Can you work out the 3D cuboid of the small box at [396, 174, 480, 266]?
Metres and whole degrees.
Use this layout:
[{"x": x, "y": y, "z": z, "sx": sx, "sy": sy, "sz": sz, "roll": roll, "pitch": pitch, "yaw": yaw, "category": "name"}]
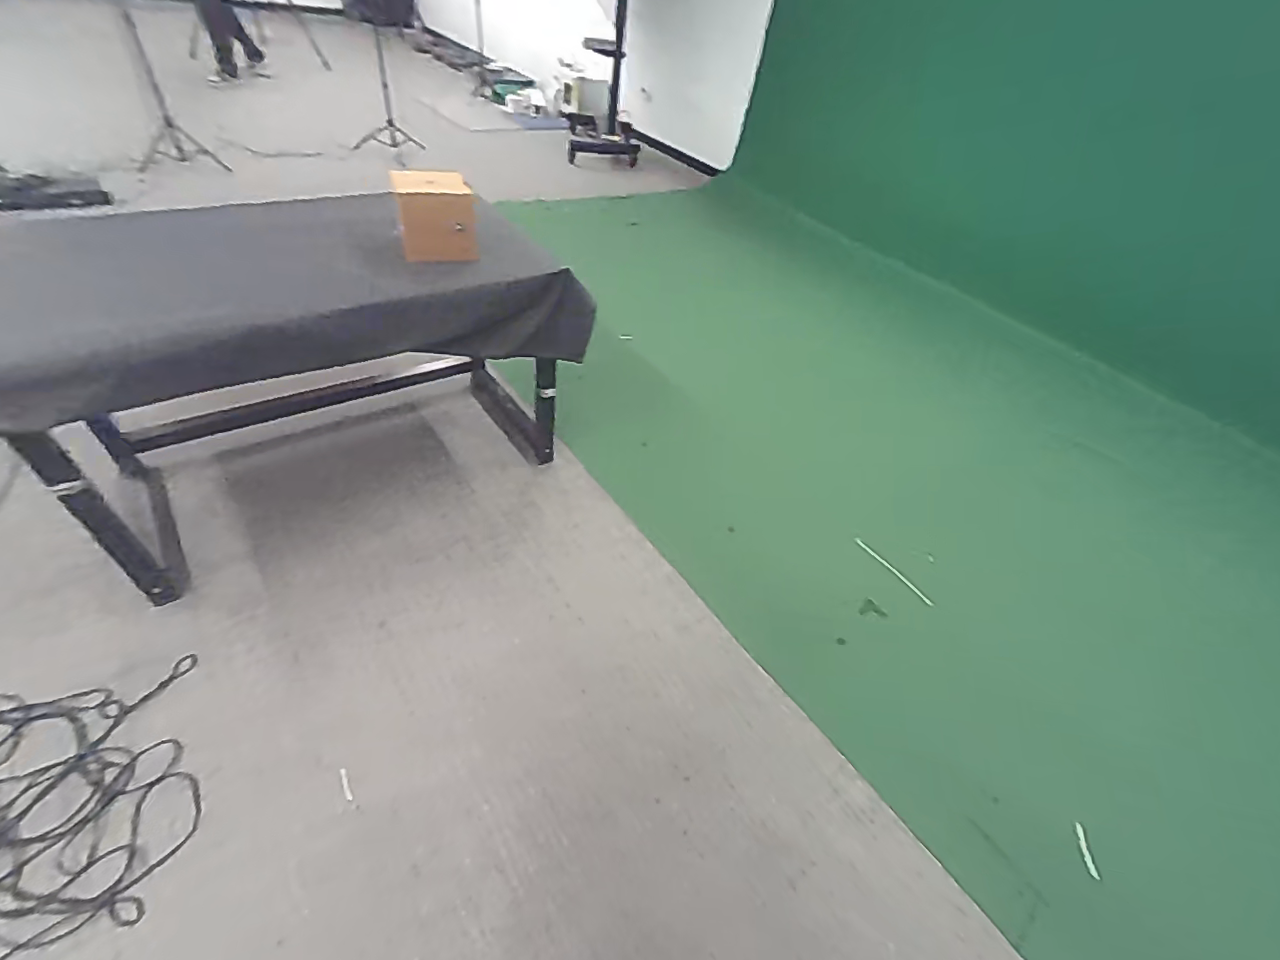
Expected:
[{"x": -0.515, "y": -0.667, "z": 1.390, "sx": 0.179, "sy": 0.176, "sz": 0.168, "roll": -12, "pitch": 47, "yaw": -21, "category": "small box"}]
